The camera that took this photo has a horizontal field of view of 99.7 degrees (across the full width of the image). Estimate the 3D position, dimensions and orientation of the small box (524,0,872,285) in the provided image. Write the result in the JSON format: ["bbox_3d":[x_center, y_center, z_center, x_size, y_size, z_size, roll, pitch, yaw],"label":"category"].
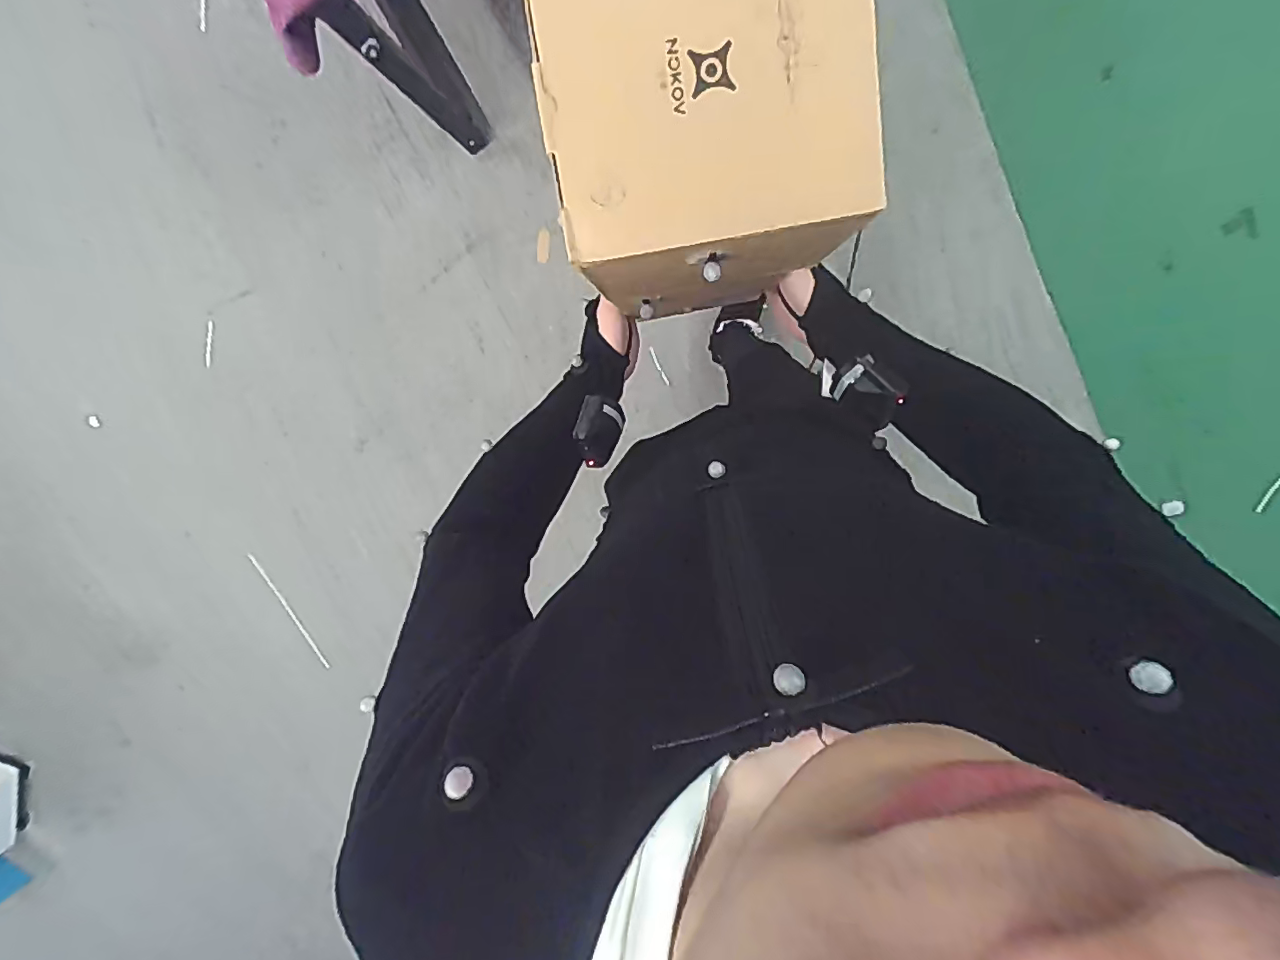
[{"bbox_3d":[0.037,-0.237,0.362,0.179,0.176,0.168,-7,101,7],"label":"small box"}]

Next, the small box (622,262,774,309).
[{"bbox_3d":[0.061,-0.319,0.678,0.179,0.176,0.168,-9,101,7],"label":"small box"}]
